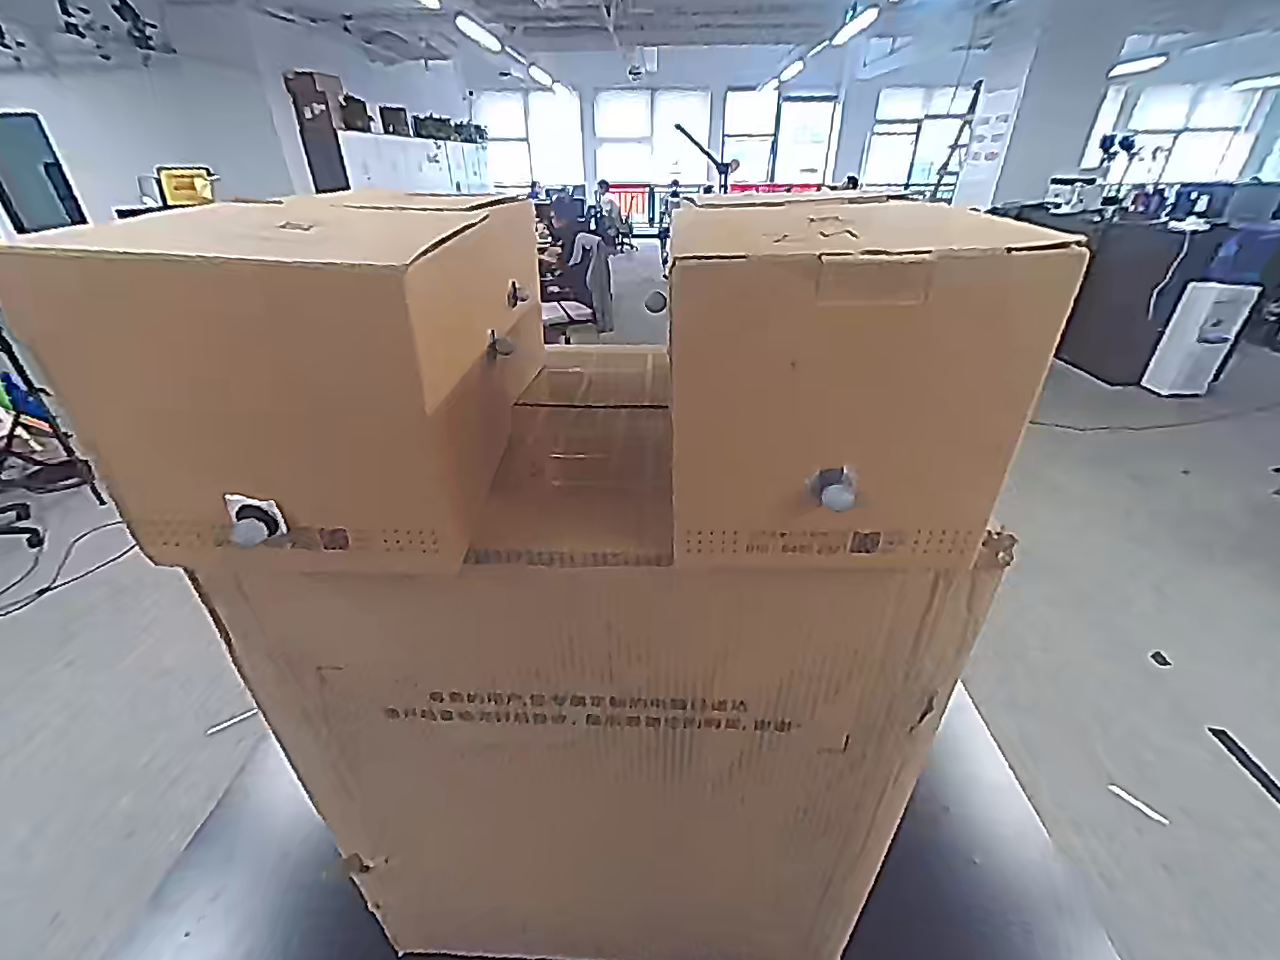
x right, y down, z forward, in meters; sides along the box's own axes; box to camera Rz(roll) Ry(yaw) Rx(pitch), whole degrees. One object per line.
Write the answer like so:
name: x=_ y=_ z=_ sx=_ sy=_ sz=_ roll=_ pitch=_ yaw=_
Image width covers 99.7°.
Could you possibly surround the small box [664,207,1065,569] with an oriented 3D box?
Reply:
small box: x=0.099 y=-0.066 z=0.336 sx=0.168 sy=0.176 sz=0.179 roll=-1 pitch=33 yaw=4
